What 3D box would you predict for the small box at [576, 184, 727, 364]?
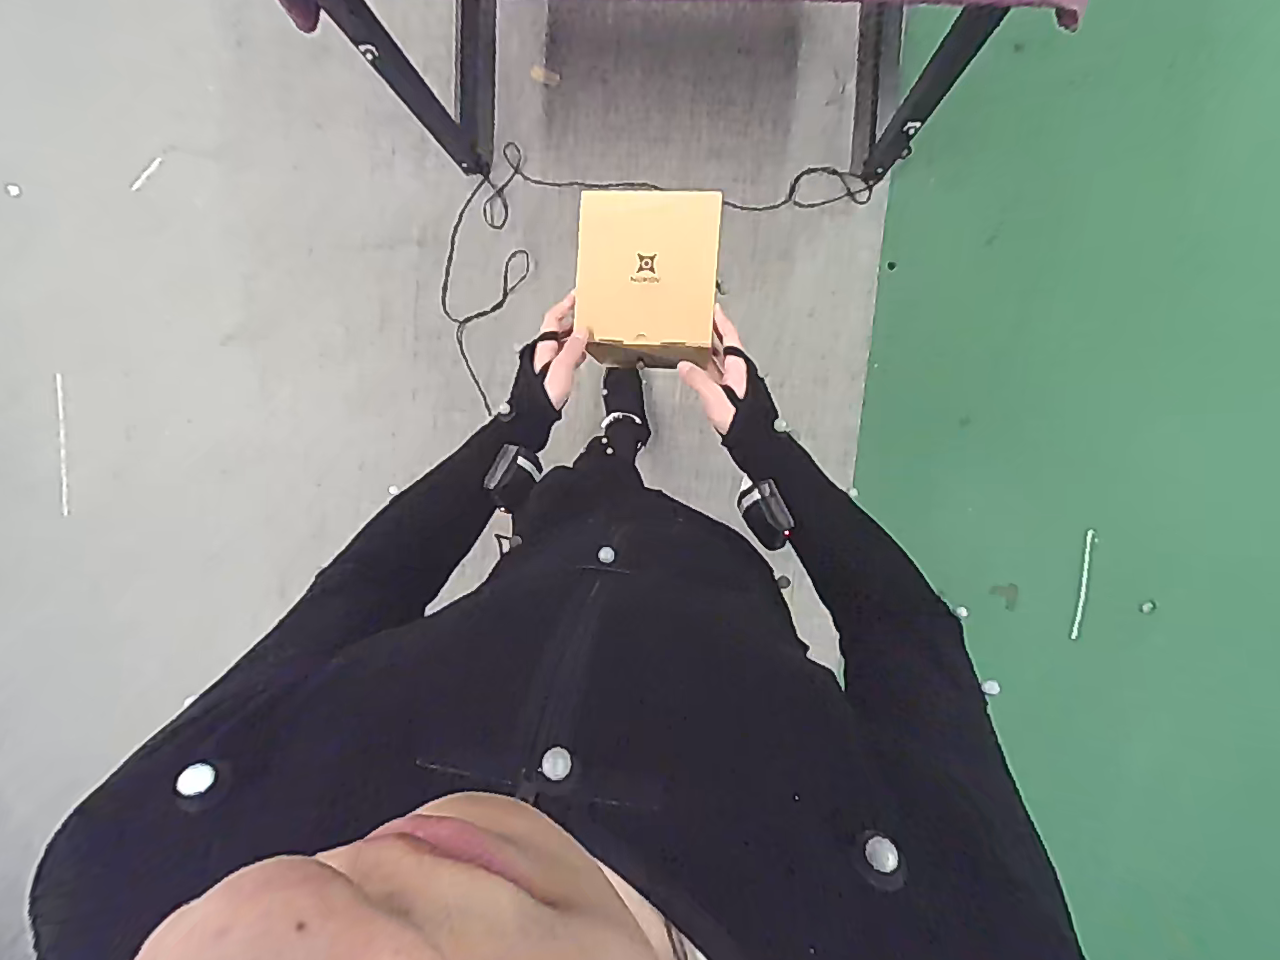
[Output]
[{"bbox_3d":[0.019,-0.255,0.703,0.168,0.176,0.179,4,94,6],"label":"small box"}]
